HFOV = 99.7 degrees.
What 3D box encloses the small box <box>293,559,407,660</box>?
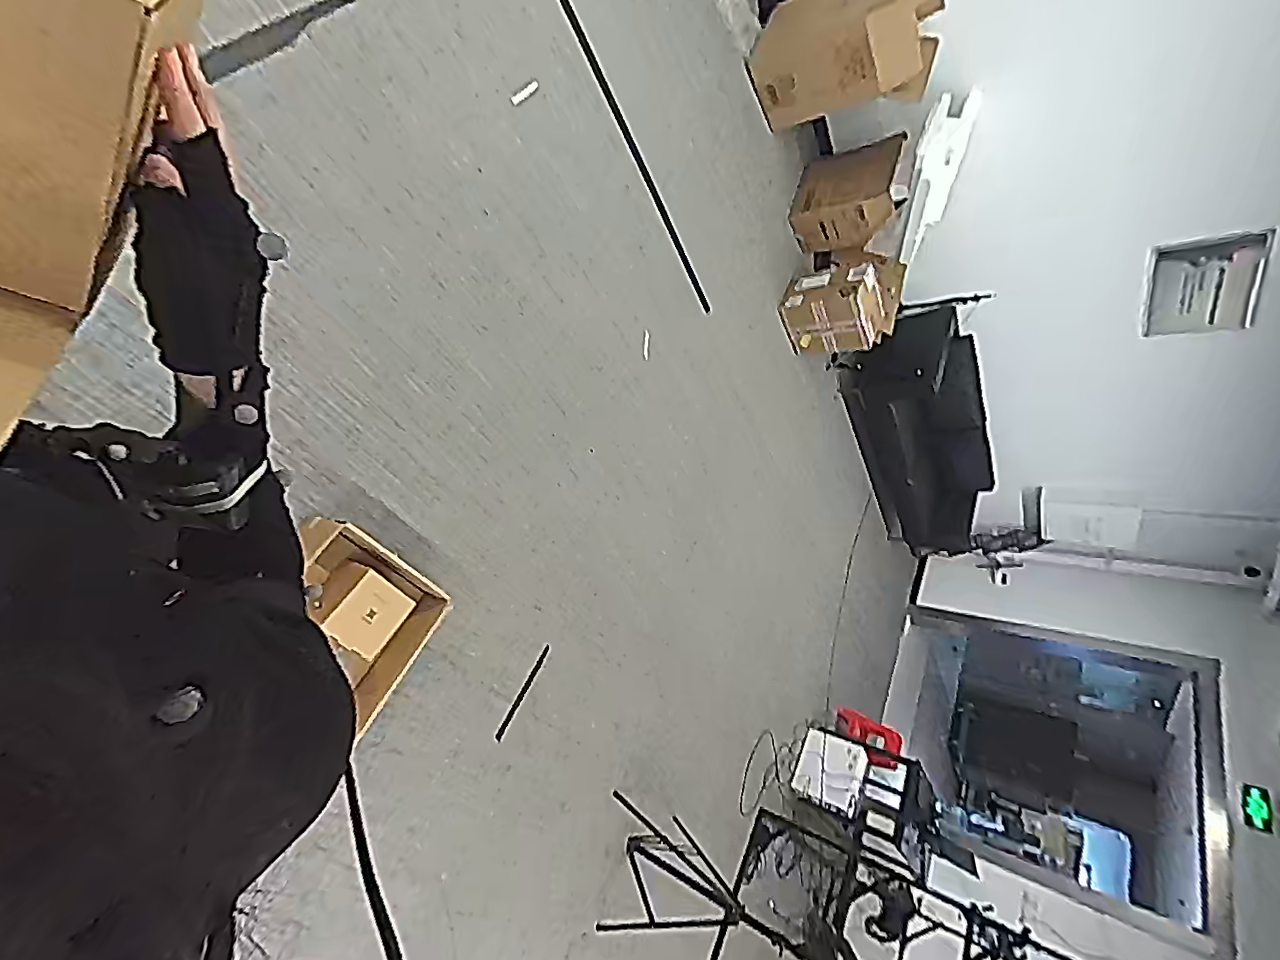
[{"bbox_3d":[-0.750,0.327,1.387,0.179,0.176,0.168,-58,133,-30],"label":"small box"}]
